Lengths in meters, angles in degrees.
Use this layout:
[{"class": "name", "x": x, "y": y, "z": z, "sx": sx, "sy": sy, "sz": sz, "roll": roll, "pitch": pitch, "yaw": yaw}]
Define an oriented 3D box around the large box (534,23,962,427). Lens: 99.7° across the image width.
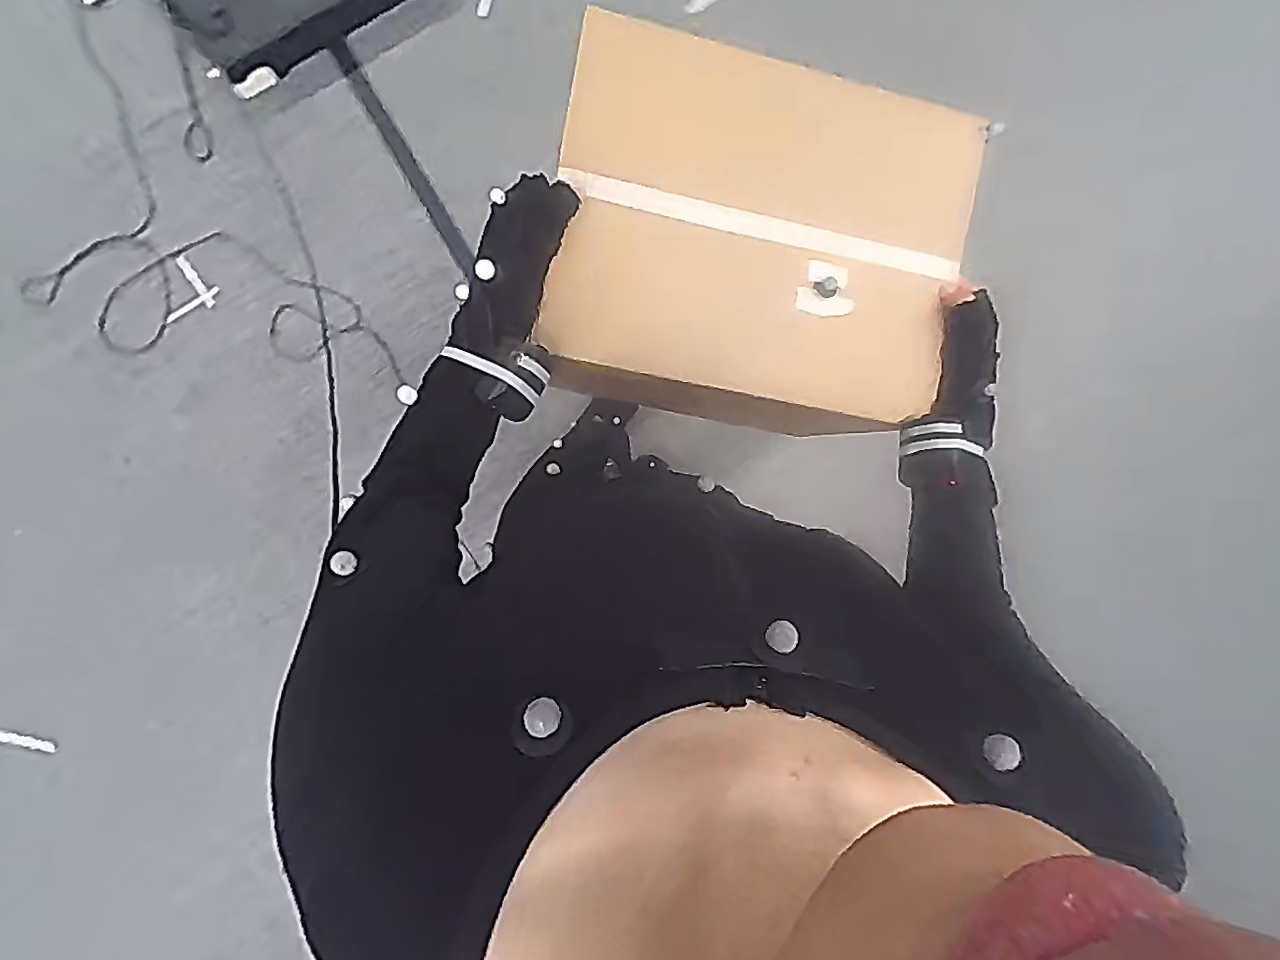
[{"class": "large box", "x": 0.094, "y": -0.255, "z": 0.677, "sx": 0.408, "sy": 0.320, "sz": 0.320, "roll": 9, "pitch": 92, "yaw": -7}]
